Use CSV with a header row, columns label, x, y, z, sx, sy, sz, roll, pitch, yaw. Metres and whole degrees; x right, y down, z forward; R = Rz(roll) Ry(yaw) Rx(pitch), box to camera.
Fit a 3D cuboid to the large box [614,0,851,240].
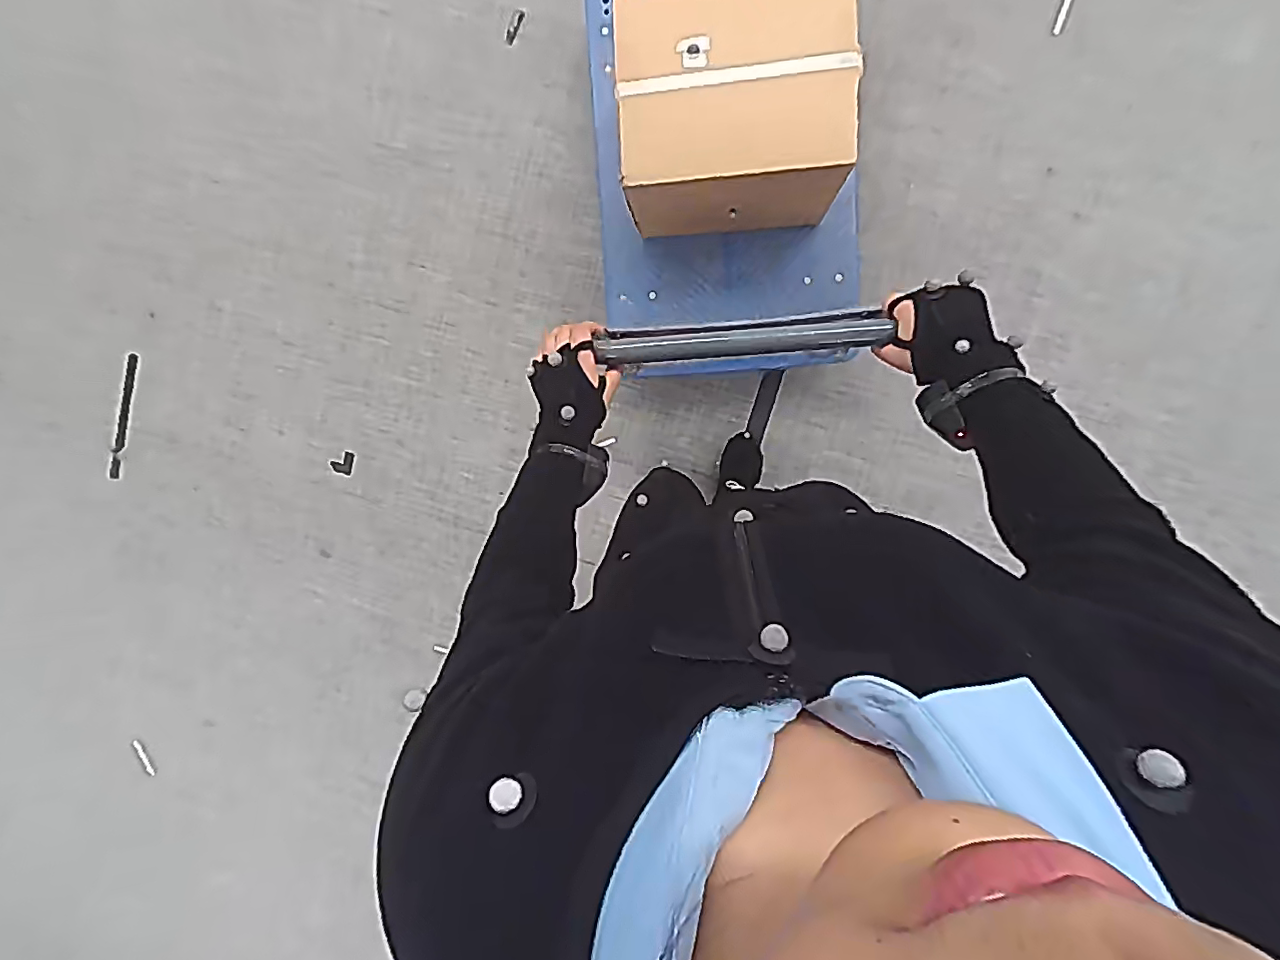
label,x,y,z,sx,sy,sz,roll,pitch,yaw
large box,0.180,-0.702,1.087,0.408,0.320,0.320,-2,96,8
